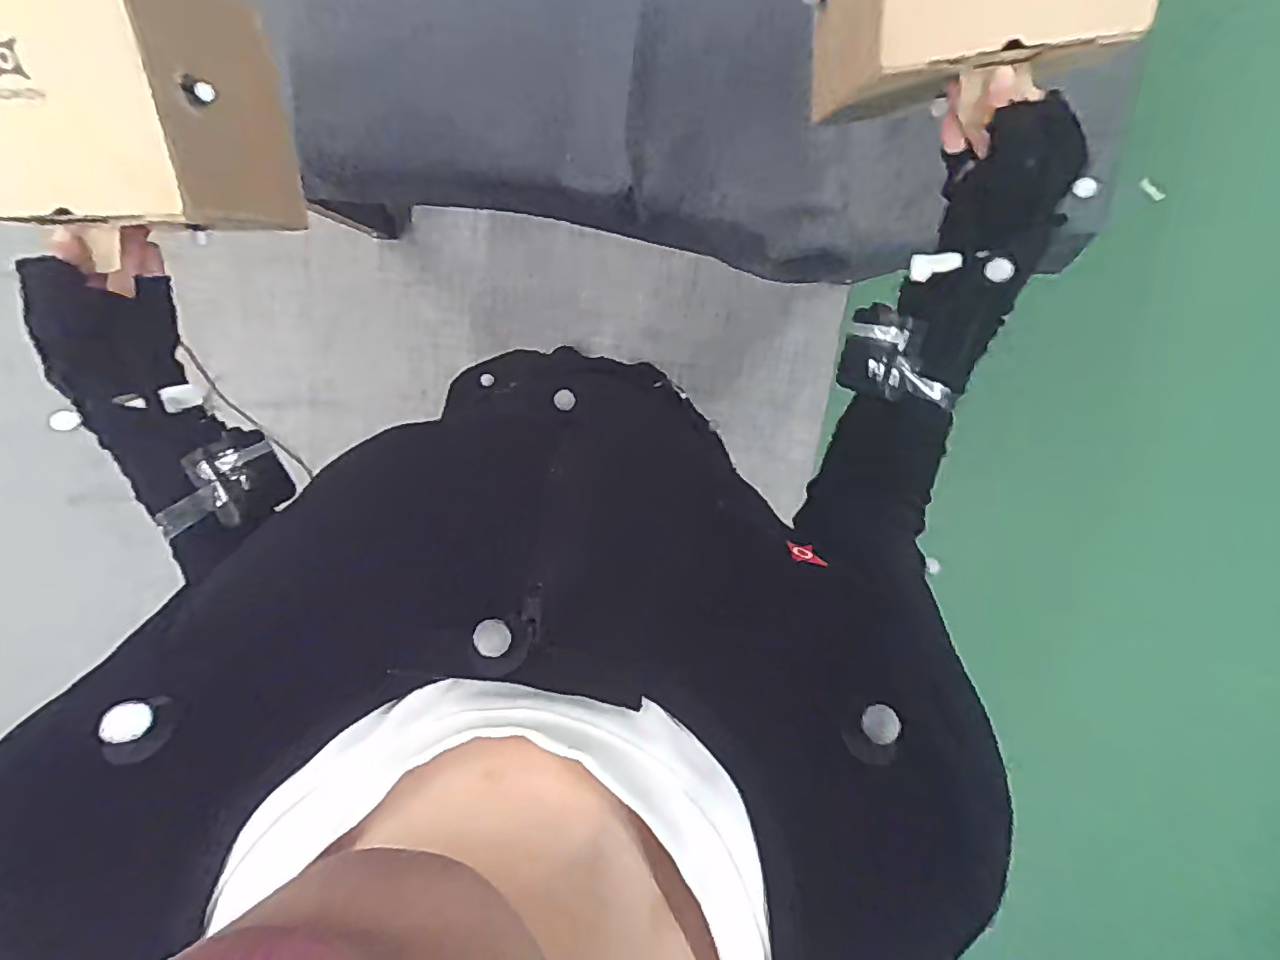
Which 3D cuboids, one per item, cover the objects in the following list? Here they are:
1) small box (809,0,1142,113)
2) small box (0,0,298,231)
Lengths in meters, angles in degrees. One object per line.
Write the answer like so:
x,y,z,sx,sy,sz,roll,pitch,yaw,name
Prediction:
0.225,-0.383,0.386,0.168,0.176,0.179,-5,113,4,small box
-0.394,-0.284,0.405,0.168,0.176,0.179,-2,112,-3,small box
